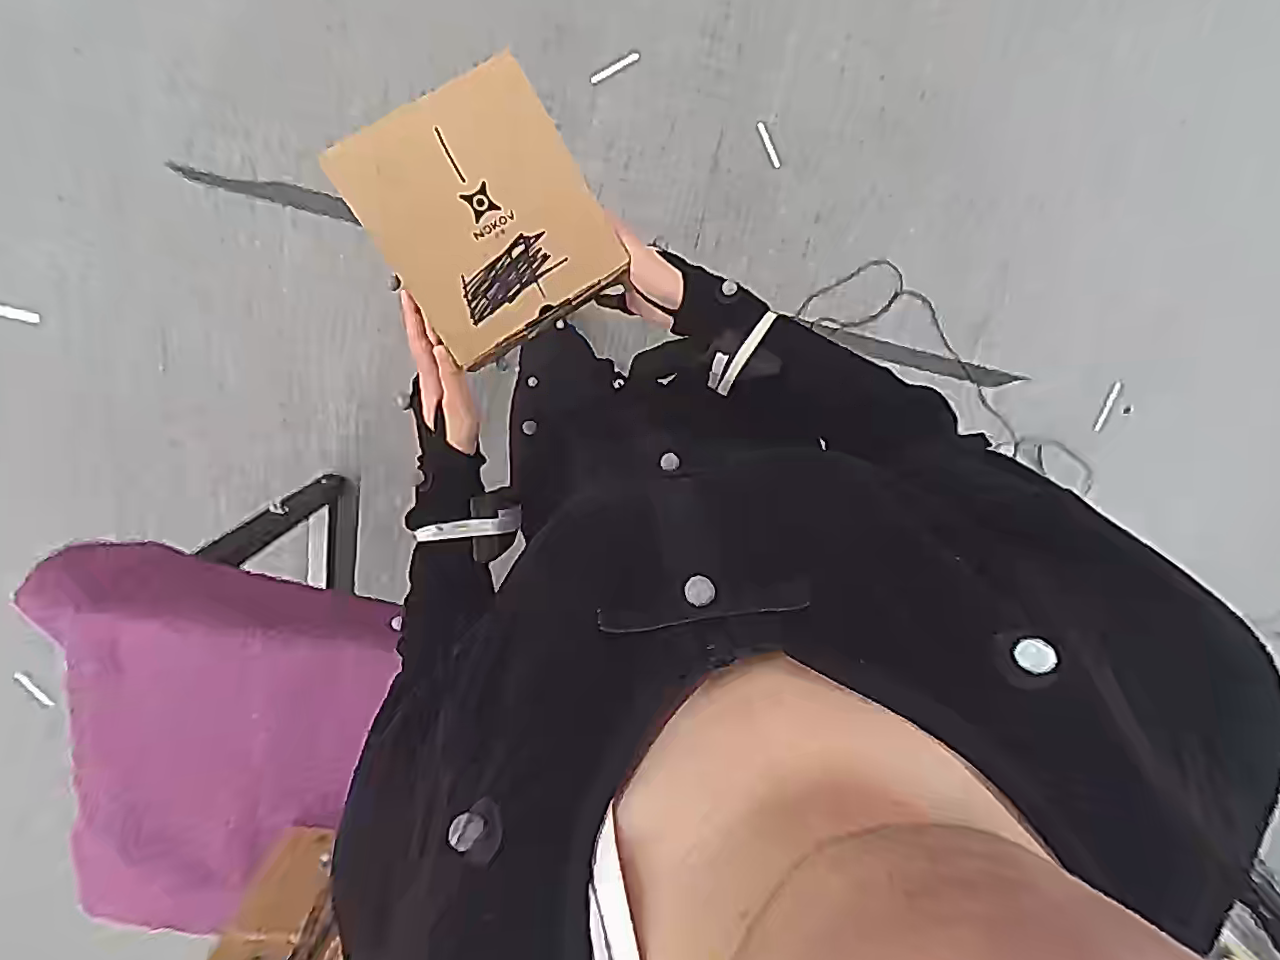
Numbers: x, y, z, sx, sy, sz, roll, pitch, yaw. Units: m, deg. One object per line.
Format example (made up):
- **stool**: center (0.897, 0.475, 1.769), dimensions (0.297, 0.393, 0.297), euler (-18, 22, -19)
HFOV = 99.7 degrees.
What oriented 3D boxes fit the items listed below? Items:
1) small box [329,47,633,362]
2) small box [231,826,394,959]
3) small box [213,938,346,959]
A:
- **small box**: center (-0.131, -0.223, 0.492), dimensions (0.168, 0.176, 0.179), euler (-34, 105, -7)
- **small box**: center (-0.501, 0.687, 0.842), dimensions (0.168, 0.176, 0.179), euler (11, 105, -8)
- **small box**: center (-0.495, 0.737, 0.688), dimensions (0.168, 0.176, 0.179), euler (8, 105, -8)
